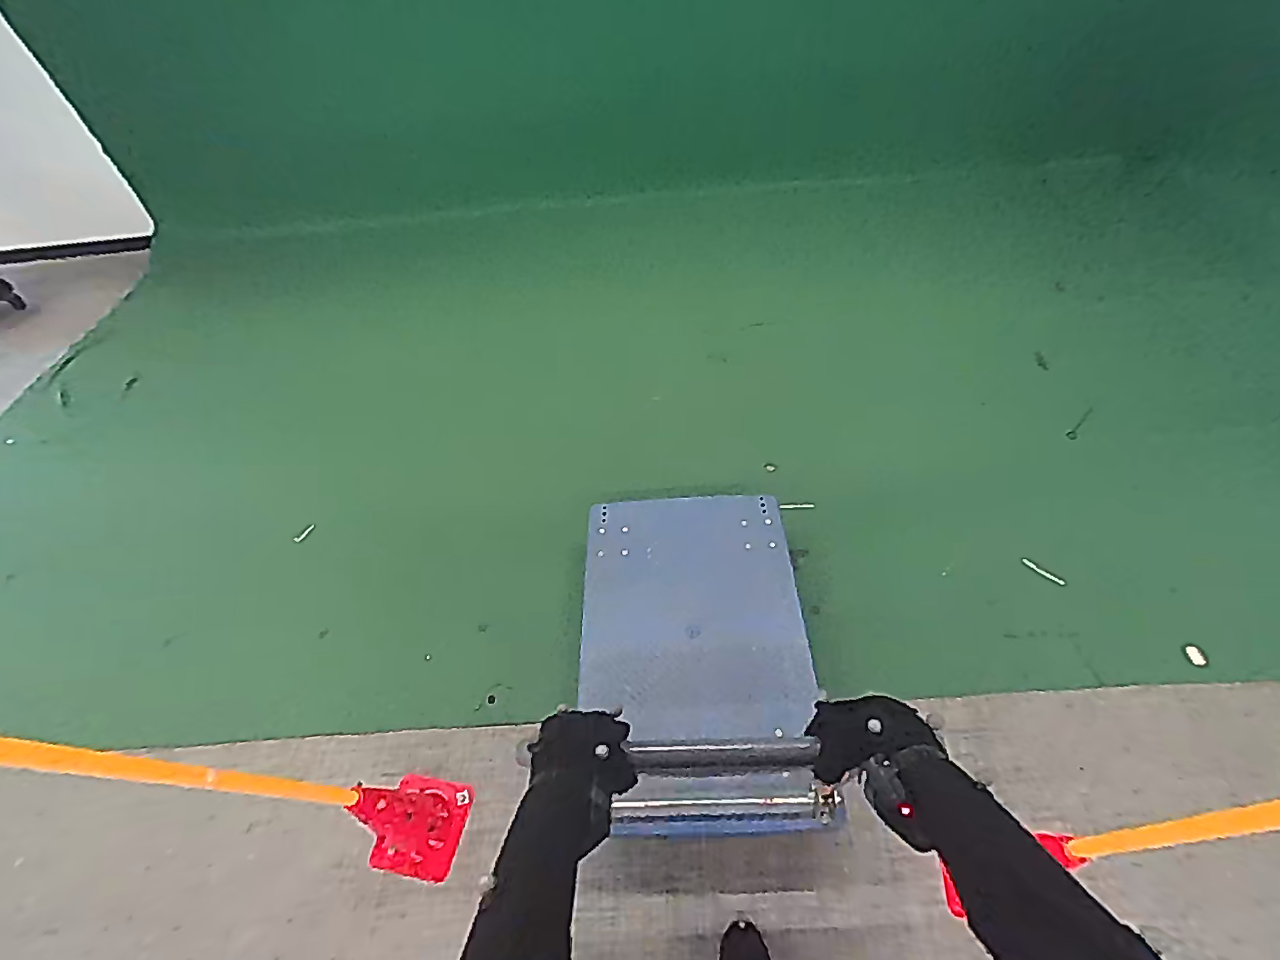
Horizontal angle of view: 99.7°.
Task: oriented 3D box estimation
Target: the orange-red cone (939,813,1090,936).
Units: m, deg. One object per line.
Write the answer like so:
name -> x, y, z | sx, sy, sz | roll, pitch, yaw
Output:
orange-red cone -> 0.748, 0.734, 1.036 | 0.198, 0.360, 0.199 | 3, 51, 9
